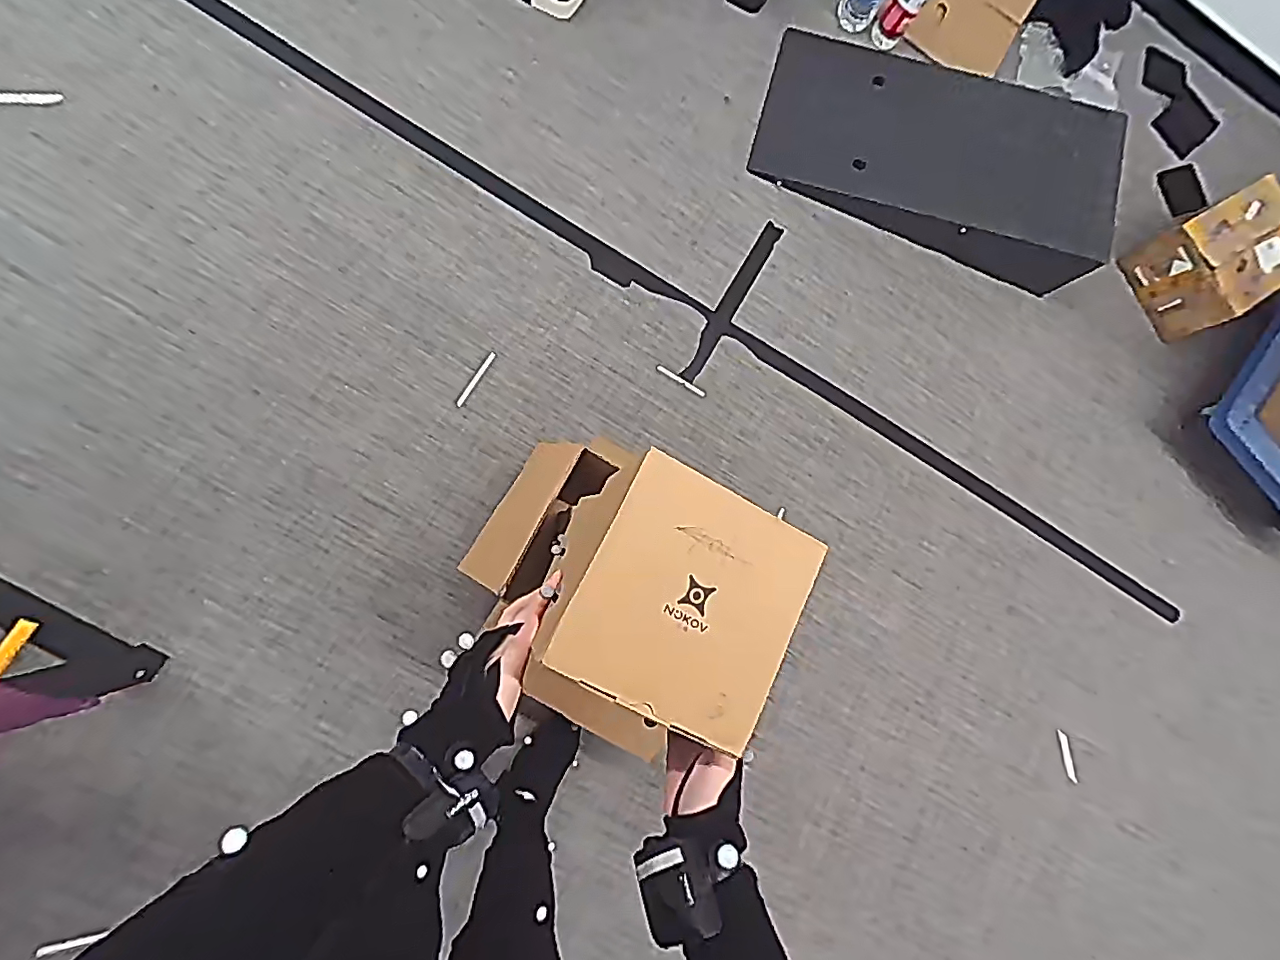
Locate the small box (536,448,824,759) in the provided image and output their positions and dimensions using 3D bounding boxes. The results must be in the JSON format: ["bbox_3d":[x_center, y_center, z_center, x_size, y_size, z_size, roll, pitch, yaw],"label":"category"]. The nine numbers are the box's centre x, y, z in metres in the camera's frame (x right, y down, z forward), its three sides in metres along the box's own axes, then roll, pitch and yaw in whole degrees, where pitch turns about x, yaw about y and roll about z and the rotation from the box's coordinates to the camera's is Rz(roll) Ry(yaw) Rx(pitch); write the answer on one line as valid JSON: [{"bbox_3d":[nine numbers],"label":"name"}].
[{"bbox_3d":[0.021,0.099,0.474,0.168,0.176,0.179,30,76,-9],"label":"small box"}]
